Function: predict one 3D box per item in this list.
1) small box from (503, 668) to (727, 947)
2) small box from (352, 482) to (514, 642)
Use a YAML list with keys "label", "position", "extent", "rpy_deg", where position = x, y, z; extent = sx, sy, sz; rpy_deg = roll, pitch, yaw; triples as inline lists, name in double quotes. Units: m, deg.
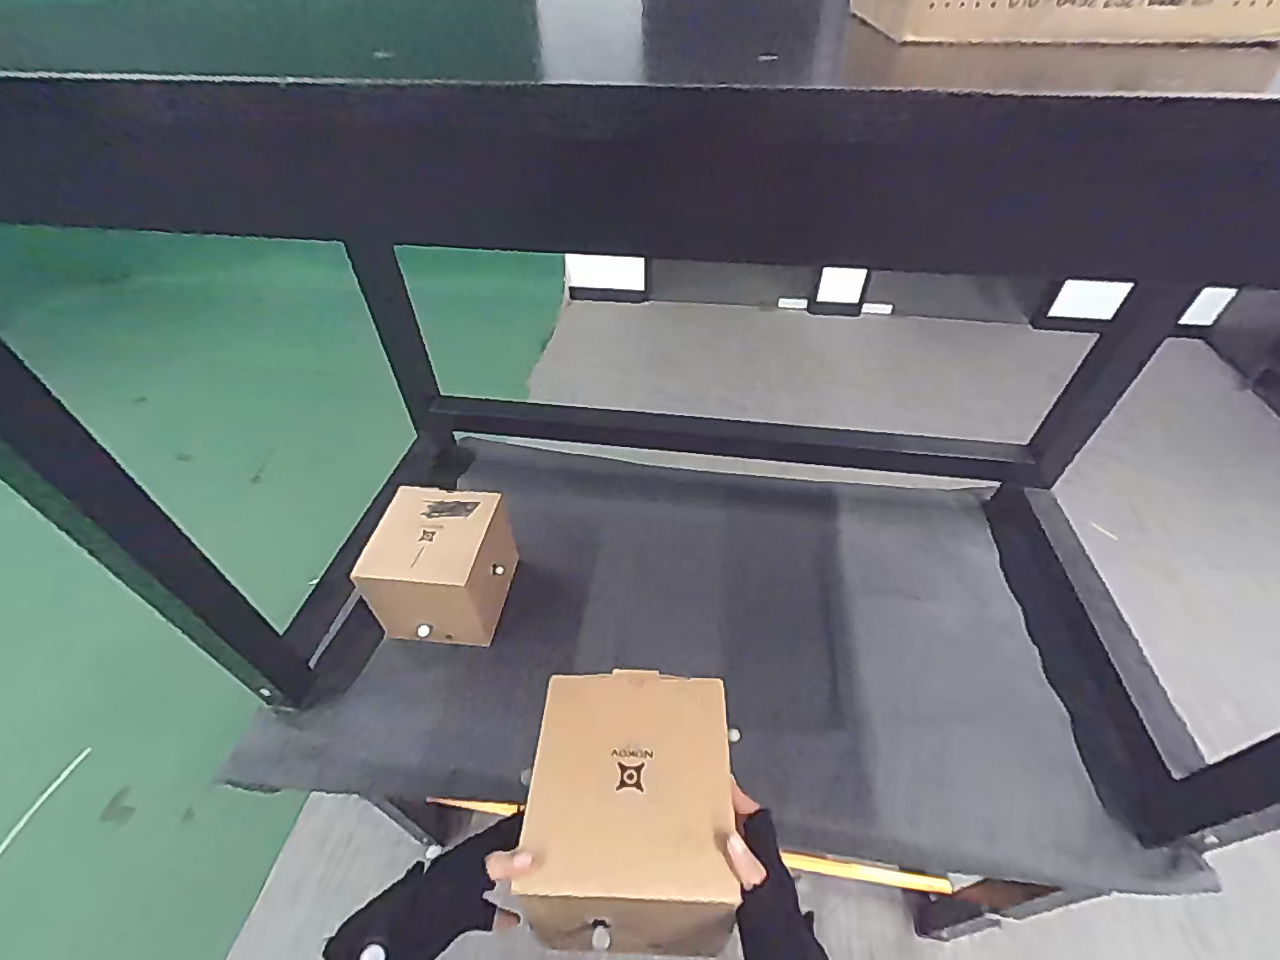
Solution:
- label: "small box"
  position: [-0.011, 0.297, 0.495]
  extent: [0.168, 0.176, 0.179]
  rpy_deg: [0, 37, 3]
- label: "small box"
  position: [-0.306, 0.127, 0.845]
  extent: [0.168, 0.176, 0.179]
  rpy_deg: [4, 45, 5]
